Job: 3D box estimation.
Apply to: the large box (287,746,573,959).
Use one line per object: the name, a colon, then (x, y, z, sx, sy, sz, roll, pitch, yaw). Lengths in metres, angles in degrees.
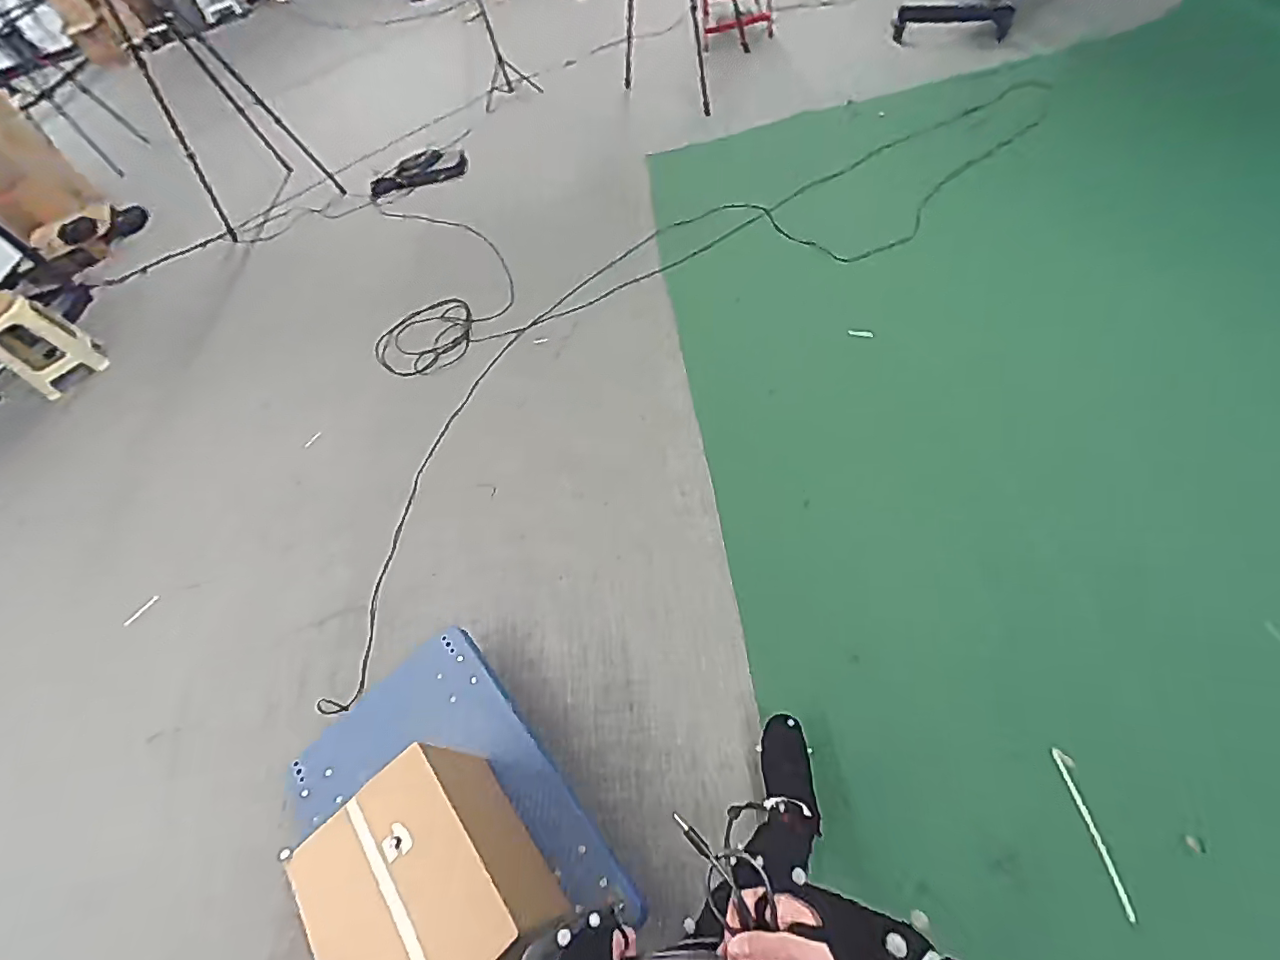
large box: (-0.403, 0.823, 1.083, 0.320, 0.320, 0.408, -41, 56, -14)
